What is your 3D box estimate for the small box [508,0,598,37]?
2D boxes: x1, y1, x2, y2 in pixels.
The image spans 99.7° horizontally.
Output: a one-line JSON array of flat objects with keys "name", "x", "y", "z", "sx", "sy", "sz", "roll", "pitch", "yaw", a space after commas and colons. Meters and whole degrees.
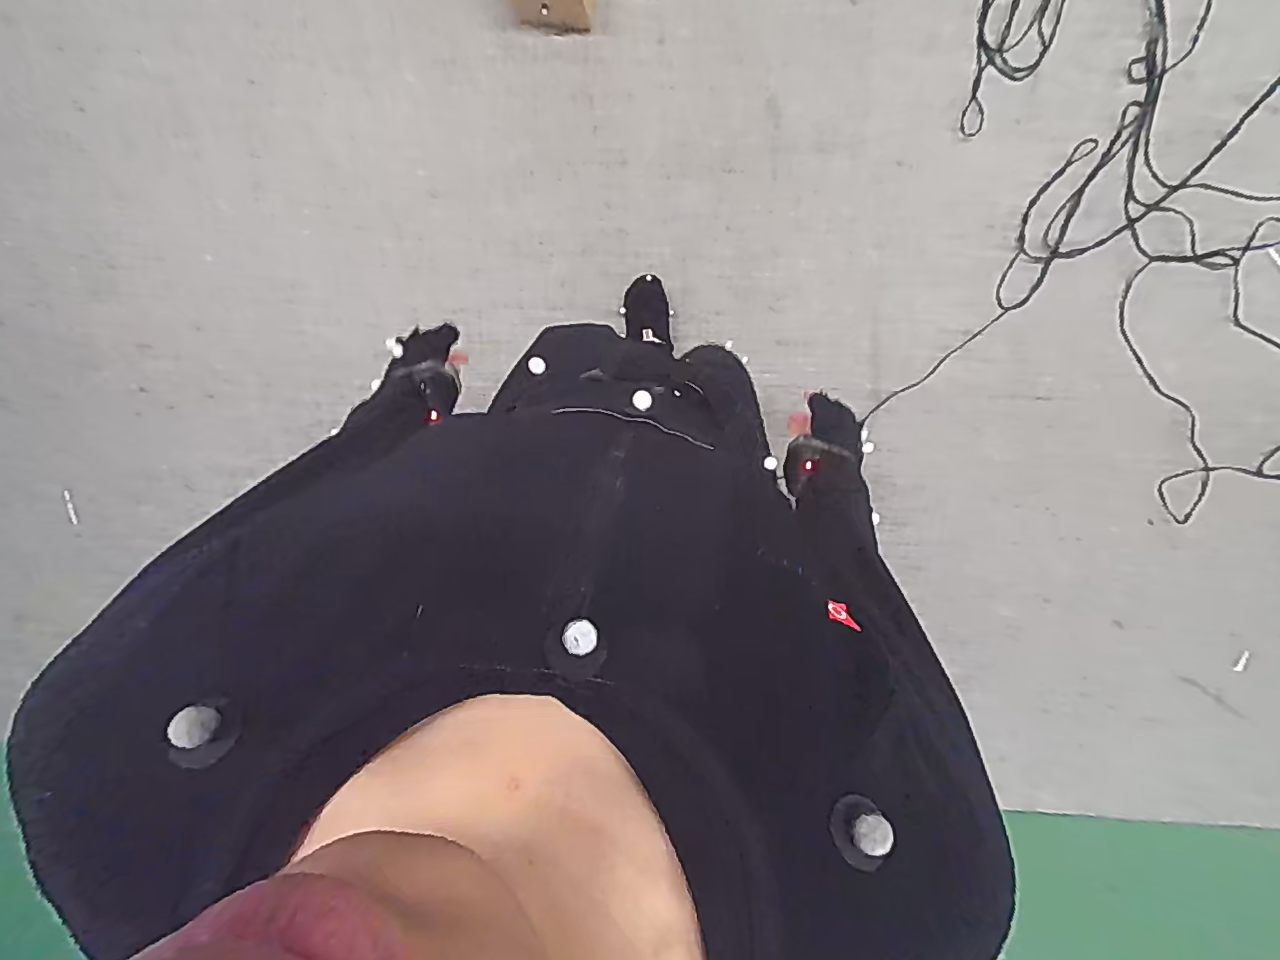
[{"name": "small box", "x": -0.173, "y": -1.038, "z": 1.090, "sx": 0.168, "sy": 0.176, "sz": 0.179, "roll": 8, "pitch": 108, "yaw": 1}]
